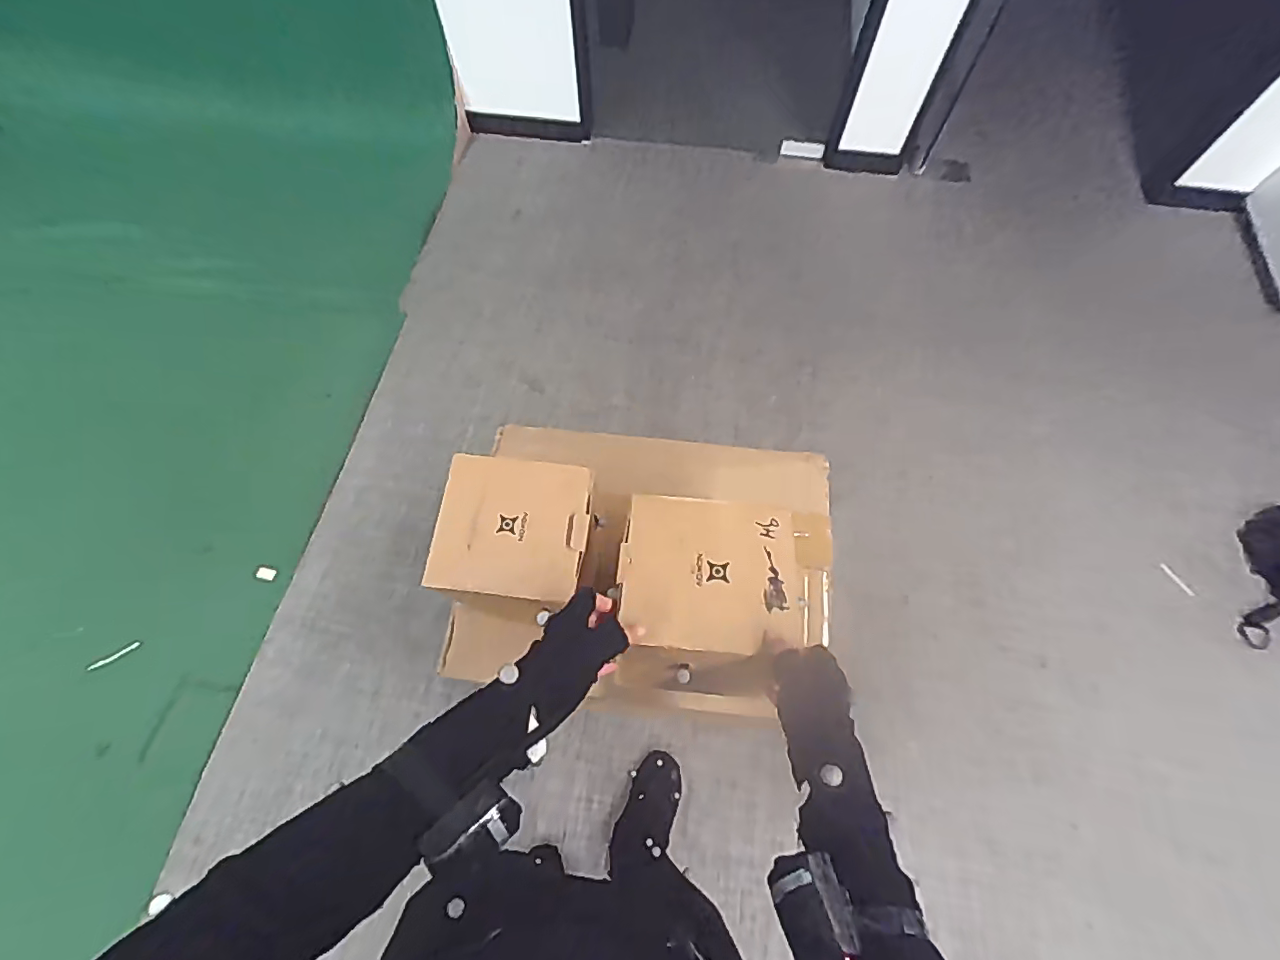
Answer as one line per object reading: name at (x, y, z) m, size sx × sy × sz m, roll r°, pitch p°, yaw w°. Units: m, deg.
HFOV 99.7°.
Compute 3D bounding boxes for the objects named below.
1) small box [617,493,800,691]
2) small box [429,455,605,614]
small box at (0.070, 0.133, 0.618) m, size 0.179 × 0.176 × 0.168 m, roll 5°, pitch 56°, yaw 1°
small box at (-0.144, 0.080, 0.710) m, size 0.179 × 0.176 × 0.168 m, roll 4°, pitch 69°, yaw 3°
